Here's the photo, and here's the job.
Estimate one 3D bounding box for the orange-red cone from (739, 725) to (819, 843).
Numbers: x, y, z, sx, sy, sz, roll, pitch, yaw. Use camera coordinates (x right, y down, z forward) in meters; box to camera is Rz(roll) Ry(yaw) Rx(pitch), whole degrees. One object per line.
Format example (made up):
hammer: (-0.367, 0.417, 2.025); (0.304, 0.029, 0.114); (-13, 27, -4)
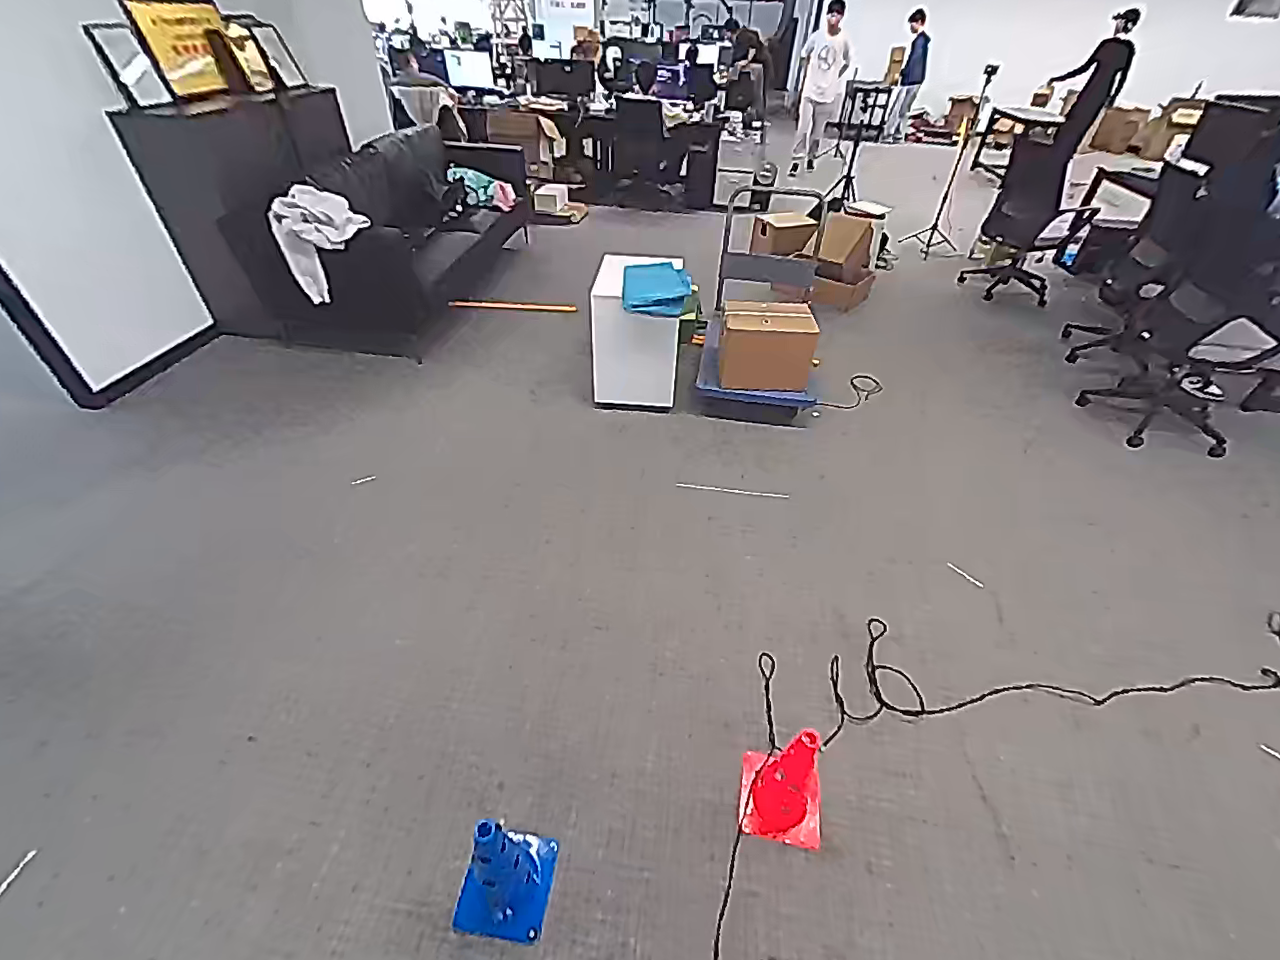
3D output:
orange-red cone: (0.363, 0.682, 1.284); (0.198, 0.360, 0.199); (9, 43, 10)
